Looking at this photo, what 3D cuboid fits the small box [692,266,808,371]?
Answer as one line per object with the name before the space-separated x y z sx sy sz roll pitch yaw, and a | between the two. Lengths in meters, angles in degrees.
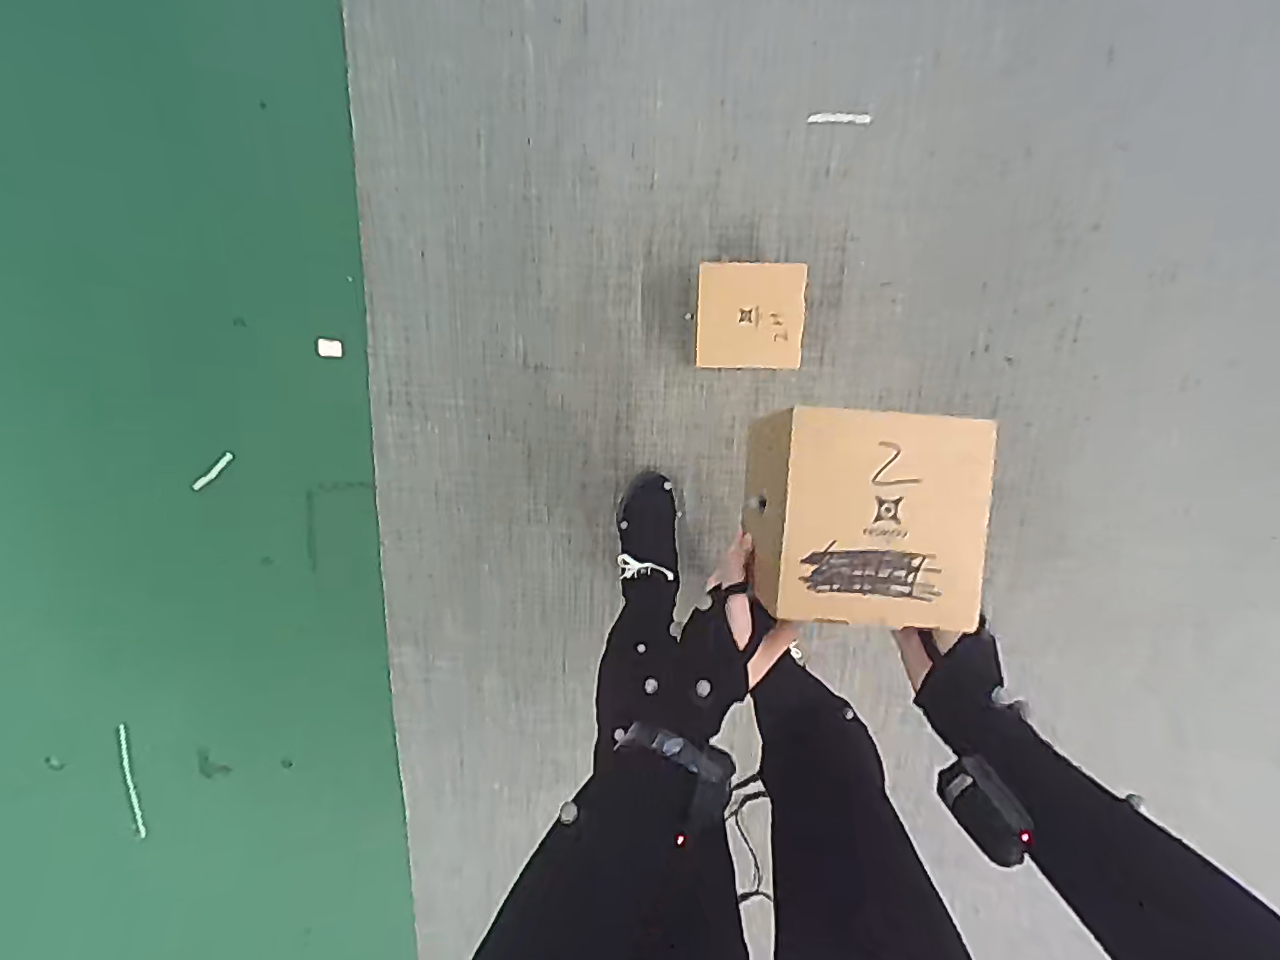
small box | 0.185 -0.281 0.967 0.179 0.176 0.168 1 102 1
